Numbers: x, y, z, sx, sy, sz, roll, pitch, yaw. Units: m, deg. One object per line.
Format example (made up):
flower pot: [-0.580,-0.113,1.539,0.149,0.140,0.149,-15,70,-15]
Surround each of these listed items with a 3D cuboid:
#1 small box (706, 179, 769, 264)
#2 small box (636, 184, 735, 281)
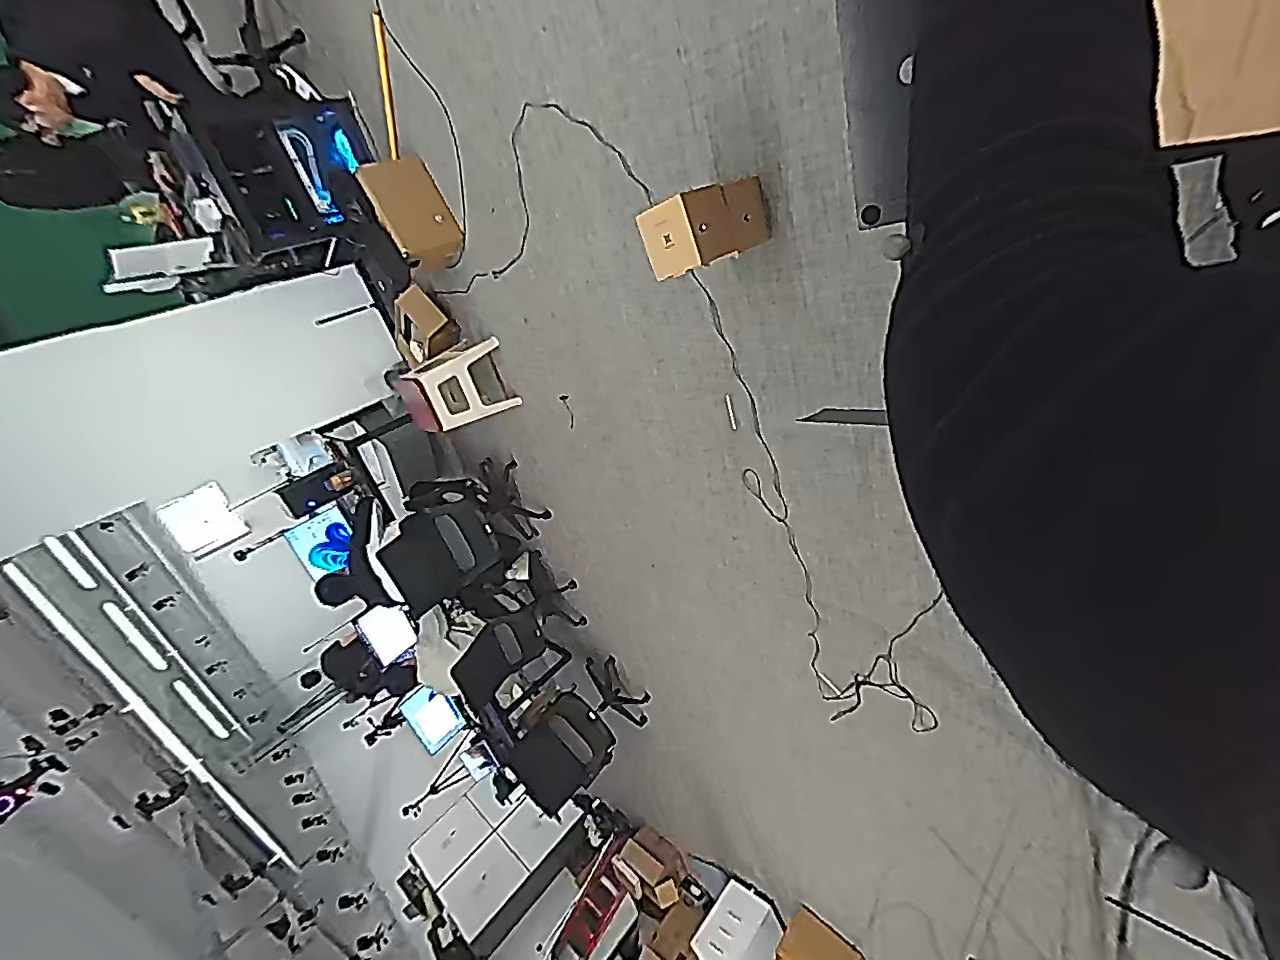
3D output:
small box: [0.237,-0.724,1.519,0.168,0.176,0.179,5,124,48]
small box: [0.126,-0.651,1.426,0.168,0.176,0.179,1,118,48]
